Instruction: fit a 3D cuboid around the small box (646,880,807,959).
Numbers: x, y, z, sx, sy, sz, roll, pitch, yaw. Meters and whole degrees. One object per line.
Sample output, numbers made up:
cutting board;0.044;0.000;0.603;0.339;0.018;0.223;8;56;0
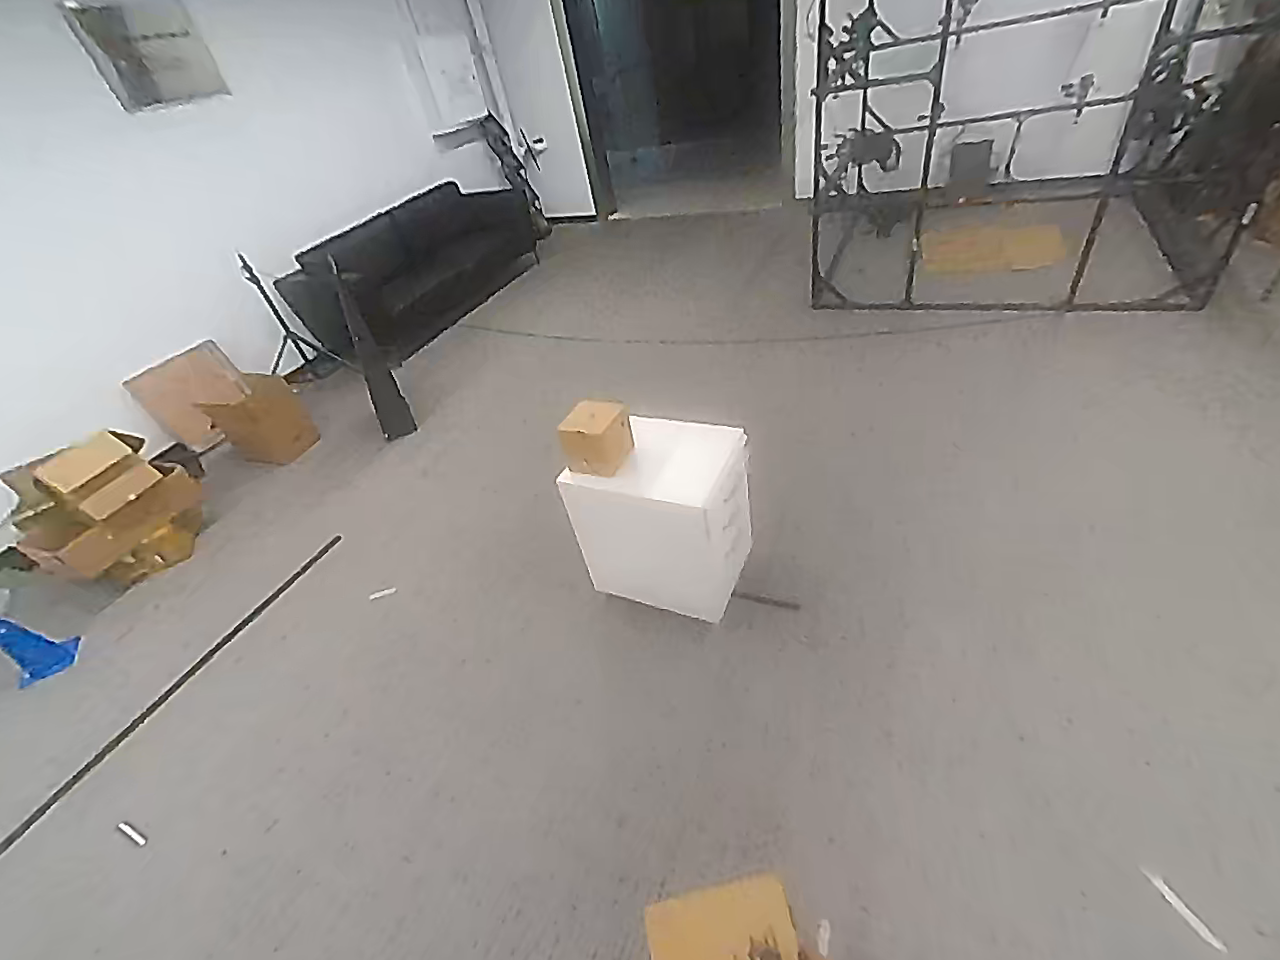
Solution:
small box;0.116;0.618;0.658;0.179;0.176;0.168;-14;44;-2

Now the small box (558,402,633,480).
small box;-0.134;-0.127;1.727;0.168;0.176;0.179;8;44;26
